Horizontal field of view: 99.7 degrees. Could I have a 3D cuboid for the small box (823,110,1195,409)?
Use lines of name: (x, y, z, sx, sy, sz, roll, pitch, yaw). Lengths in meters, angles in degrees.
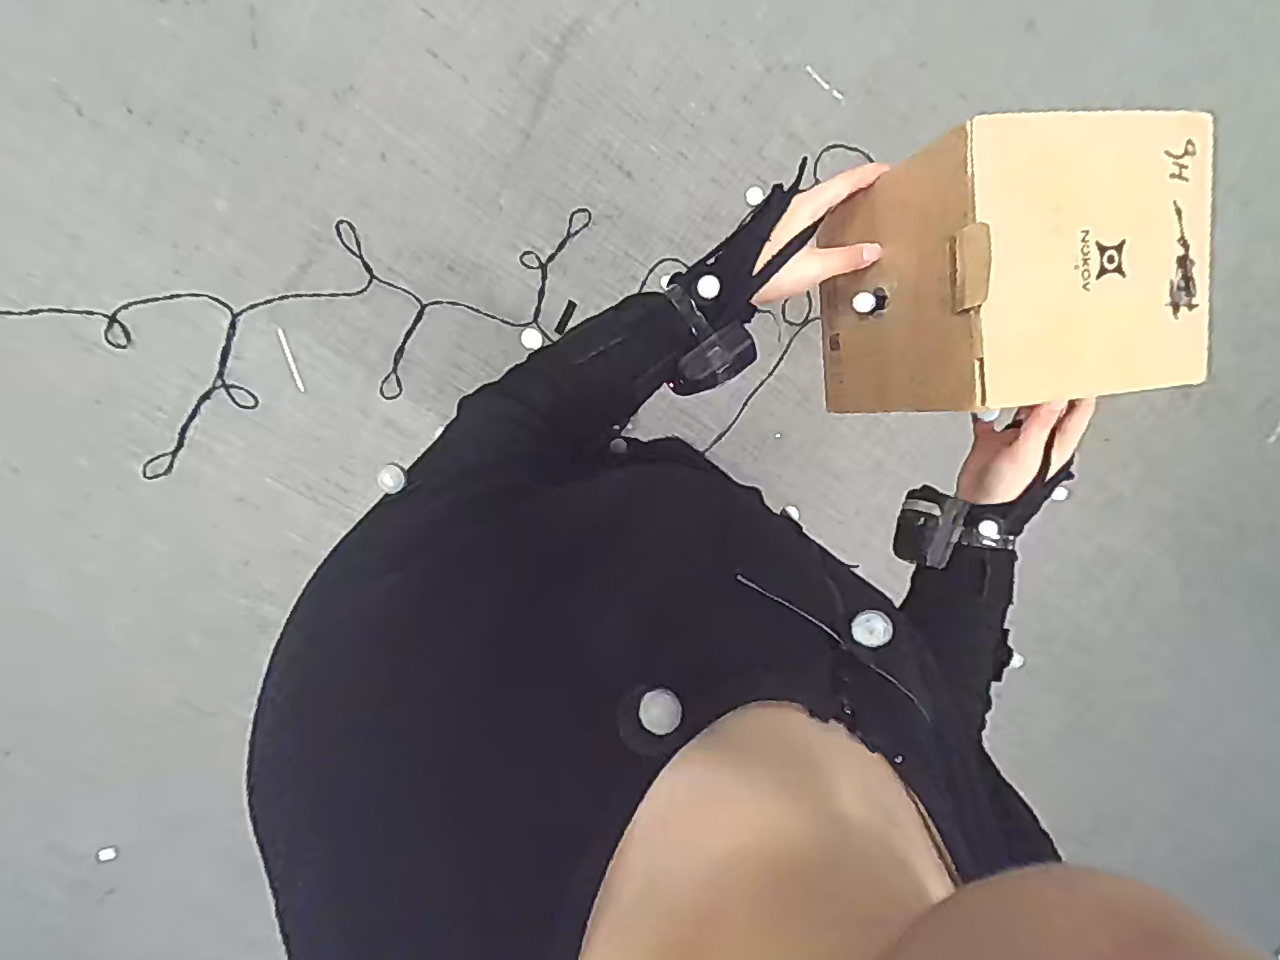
small box: (0.254, -0.146, 0.409, 0.179, 0.176, 0.168, -8, 97, -10)
